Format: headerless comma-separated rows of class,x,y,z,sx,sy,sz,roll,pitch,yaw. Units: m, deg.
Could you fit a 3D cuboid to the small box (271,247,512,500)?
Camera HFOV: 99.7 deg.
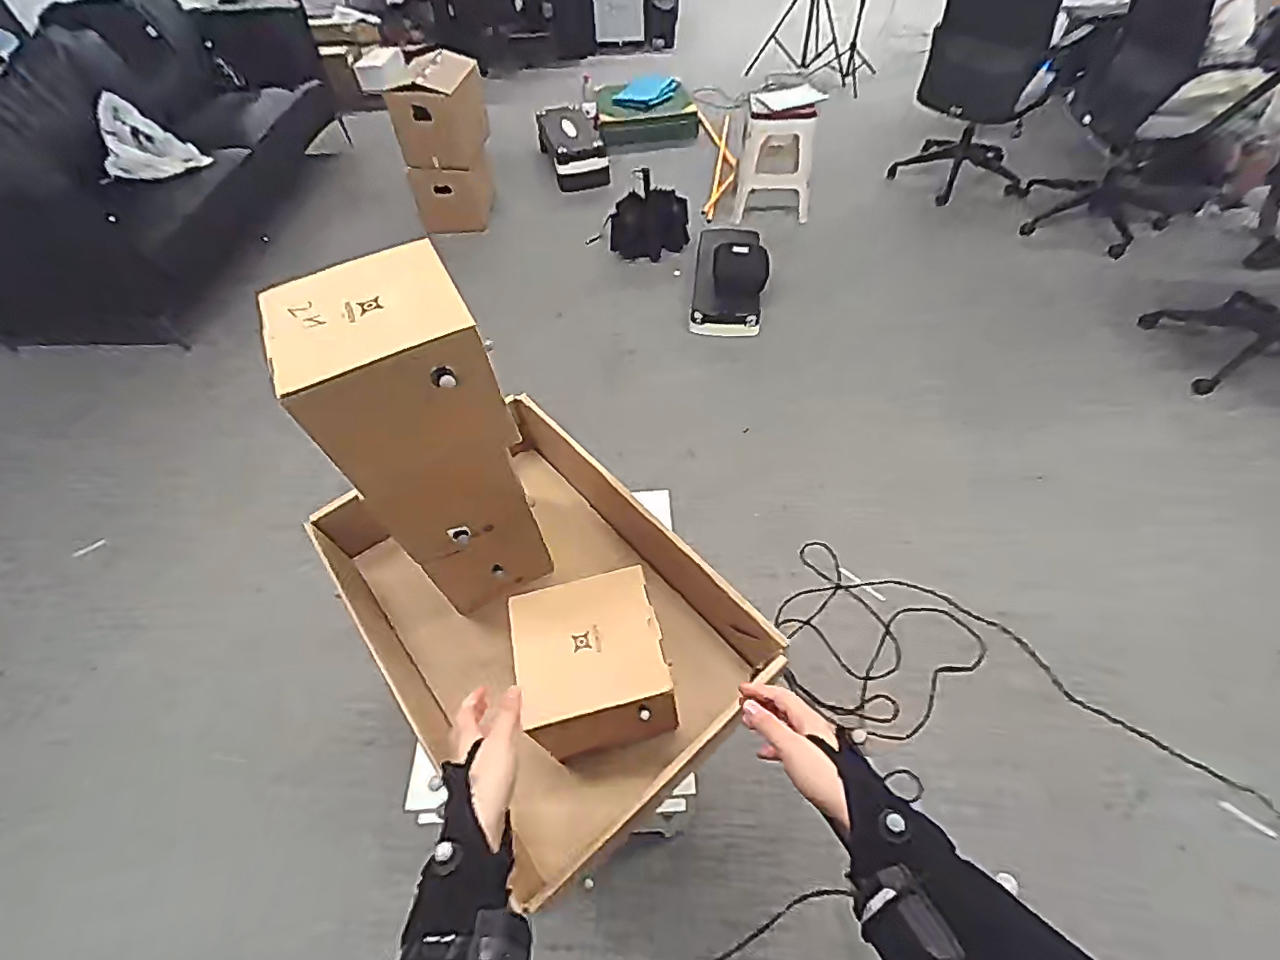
small box,-0.252,-0.111,0.583,0.179,0.176,0.168,-26,56,-12

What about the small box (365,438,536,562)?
small box,-0.255,-0.022,0.723,0.168,0.176,0.179,-23,57,-10
